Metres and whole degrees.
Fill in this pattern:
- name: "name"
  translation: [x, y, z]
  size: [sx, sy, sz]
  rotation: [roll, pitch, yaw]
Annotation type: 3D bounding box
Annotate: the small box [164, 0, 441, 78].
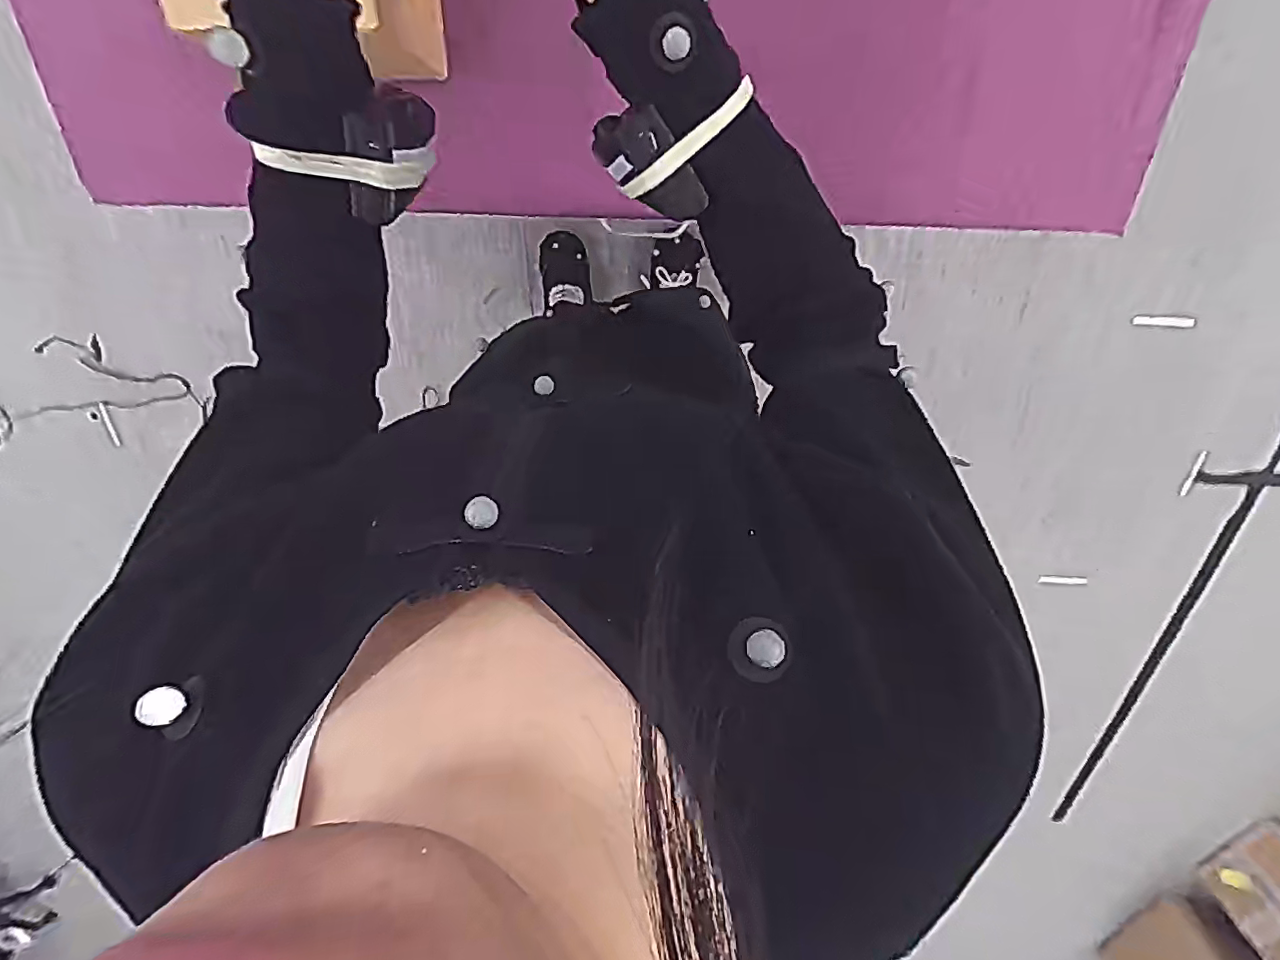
- name: "small box"
  translation: [-0.289, -0.472, 0.472]
  size: [0.179, 0.176, 0.168]
  rotation: [2, 116, 2]
